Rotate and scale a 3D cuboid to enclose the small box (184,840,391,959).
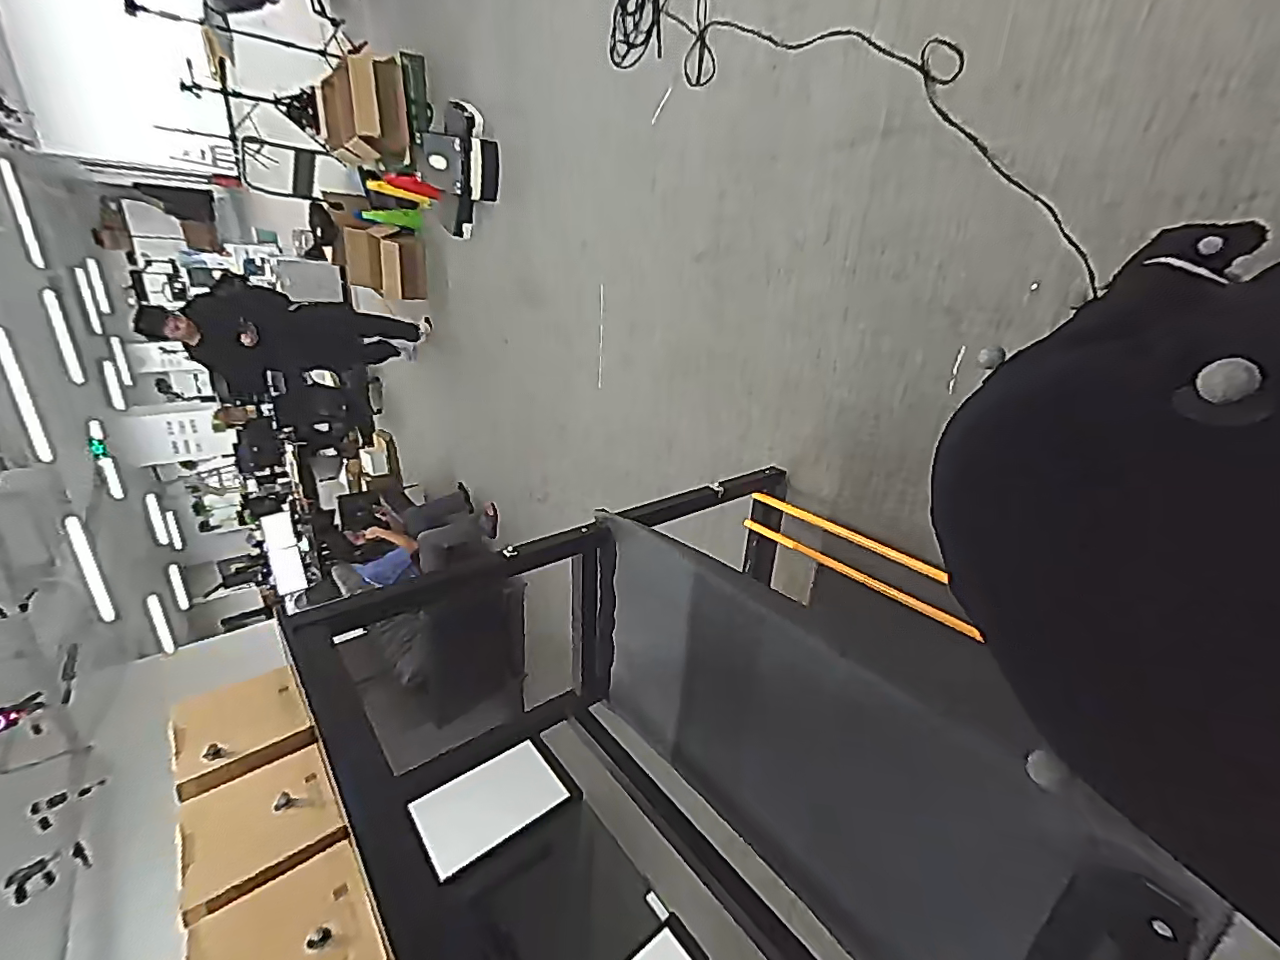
[{"bbox_3d":[-0.374,0.558,0.595,0.168,0.176,0.179,27,121,45],"label":"small box"}]
